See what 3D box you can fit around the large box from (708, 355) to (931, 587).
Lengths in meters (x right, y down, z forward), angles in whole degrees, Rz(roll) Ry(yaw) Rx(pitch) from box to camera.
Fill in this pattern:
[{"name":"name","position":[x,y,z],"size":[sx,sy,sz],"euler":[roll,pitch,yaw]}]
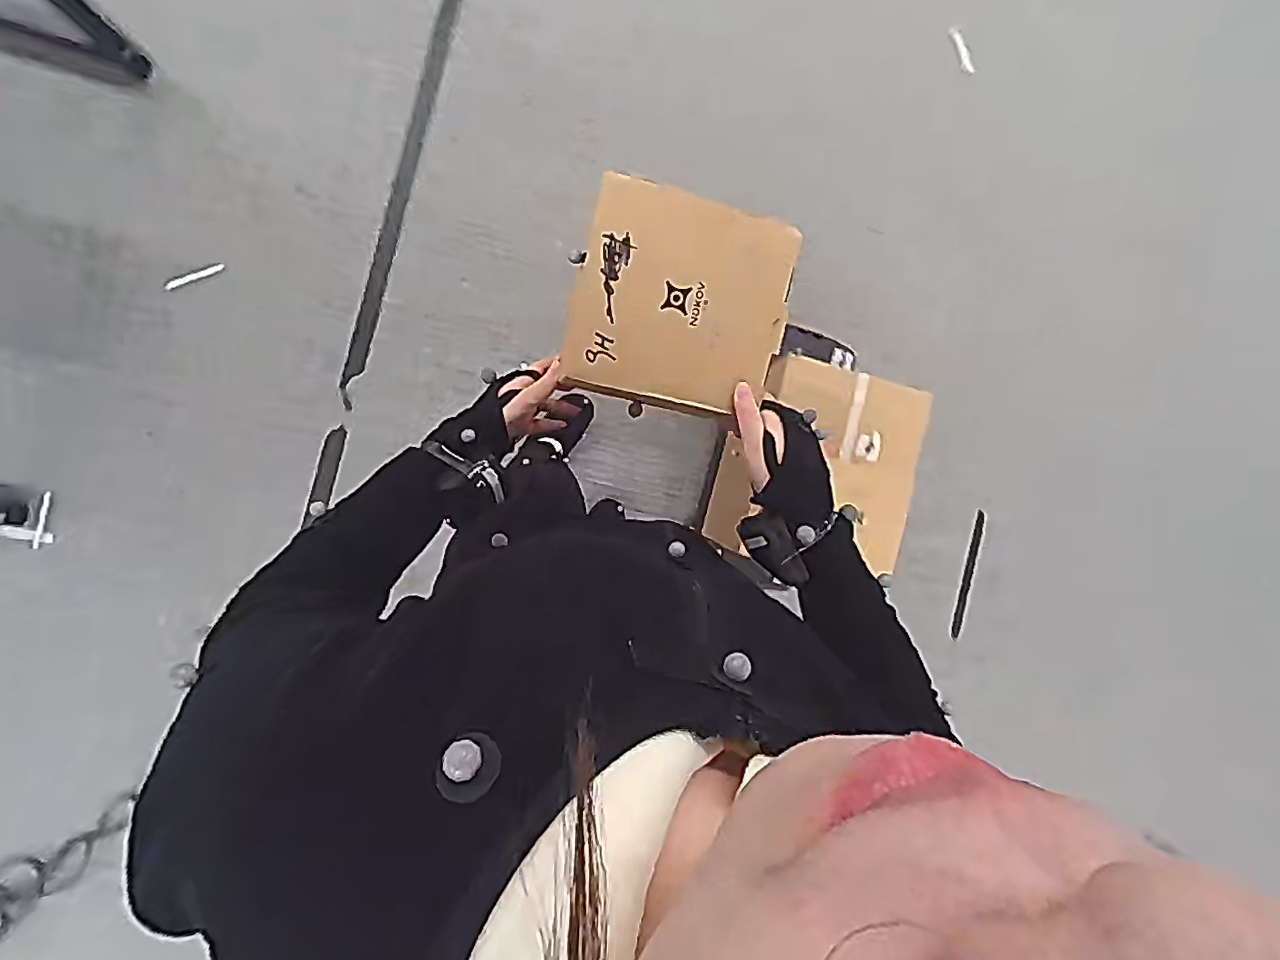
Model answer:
[{"name":"large box","position":[0.370,-0.013,1.199],"size":[0.320,0.320,0.408],"euler":[15,88,-8]}]

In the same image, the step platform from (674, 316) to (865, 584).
[{"name":"step platform","position":[0.338,-0.074,1.433],"size":[0.286,0.204,0.684],"euler":[20,88,-7]}]

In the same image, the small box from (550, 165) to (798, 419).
[{"name":"small box","position":[0.018,-0.158,0.515],"size":[0.179,0.176,0.168],"euler":[10,95,-13]}]

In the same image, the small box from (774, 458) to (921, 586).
[{"name":"small box","position":[0.351,0.067,0.951],"size":[0.168,0.176,0.179],"euler":[15,89,-6]}]
